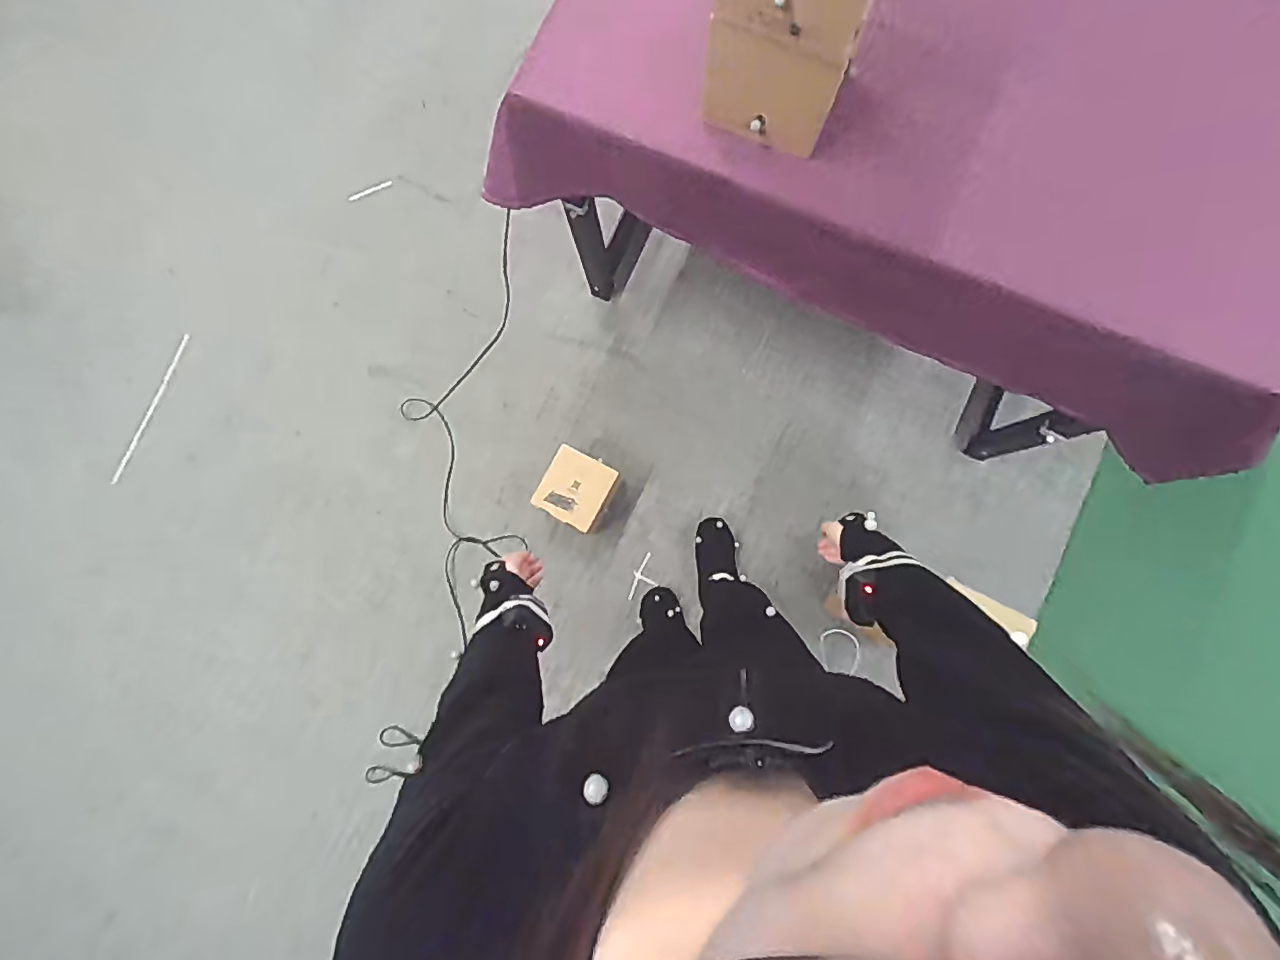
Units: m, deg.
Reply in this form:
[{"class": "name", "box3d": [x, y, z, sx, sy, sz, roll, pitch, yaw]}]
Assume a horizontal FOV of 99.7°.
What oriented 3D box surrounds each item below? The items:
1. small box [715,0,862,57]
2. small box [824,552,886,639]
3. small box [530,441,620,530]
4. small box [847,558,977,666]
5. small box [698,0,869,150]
[{"class": "small box", "box3d": [0.188, -0.618, 0.576, 0.168, 0.176, 0.179, 24, 86, 5]}, {"class": "small box", "box3d": [0.594, 0.294, 1.368, 0.179, 0.176, 0.168, 28, 86, 4]}, {"class": "small box", "box3d": [-0.162, 0.020, 1.430, 0.168, 0.176, 0.179, 28, 86, 5]}, {"class": "small box", "box3d": [0.594, 0.283, 1.205, 0.179, 0.176, 0.168, 26, 87, 4]}, {"class": "small box", "box3d": [0.193, -0.597, 0.740, 0.179, 0.176, 0.168, 23, 85, 4]}]
